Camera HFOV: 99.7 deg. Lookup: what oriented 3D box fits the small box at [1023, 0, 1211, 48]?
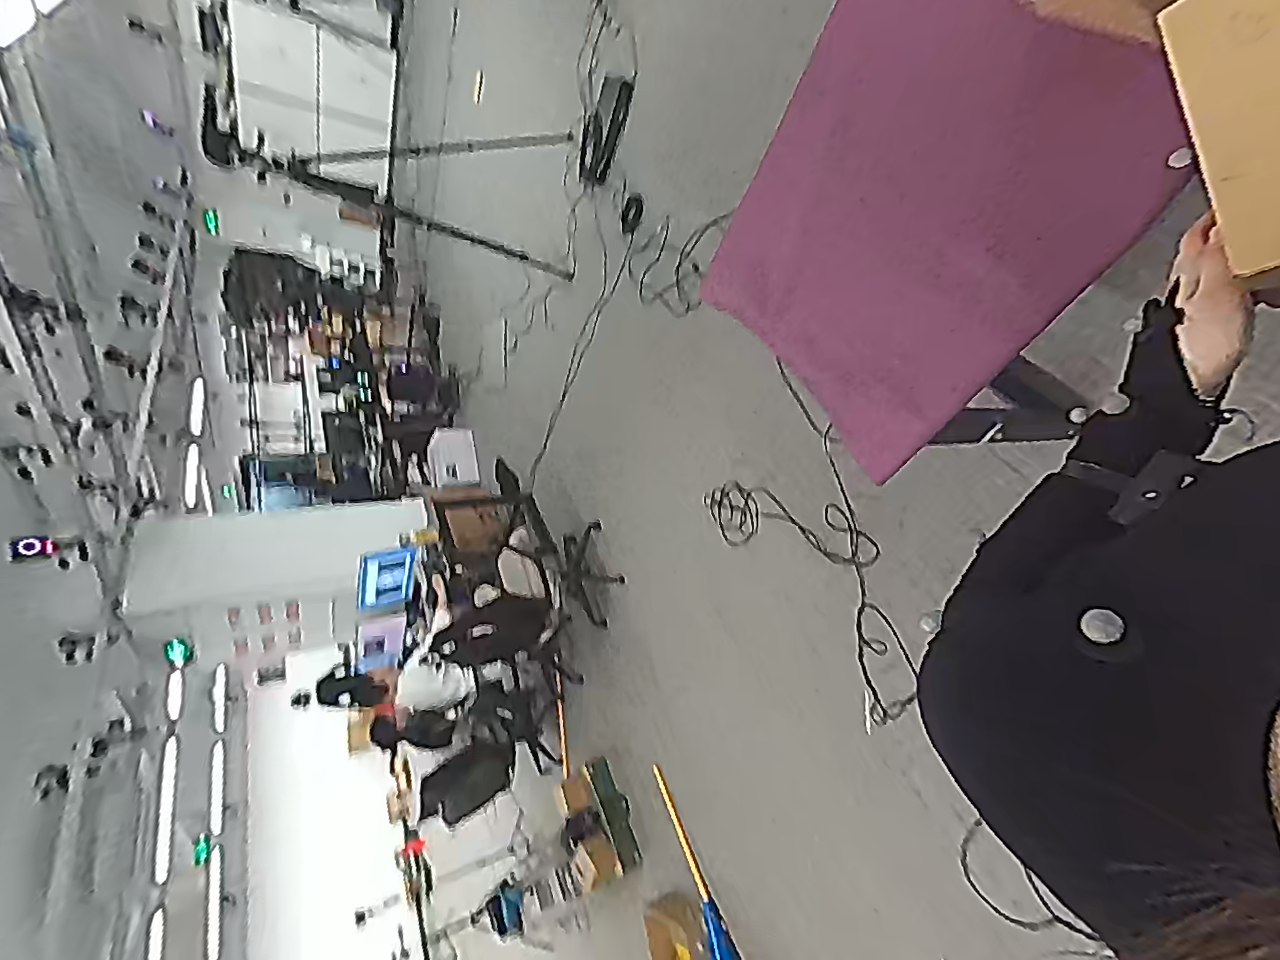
[{"bbox_3d":[0.497,-0.574,0.540,0.179,0.176,0.168,60,139,35],"label":"small box"}]
